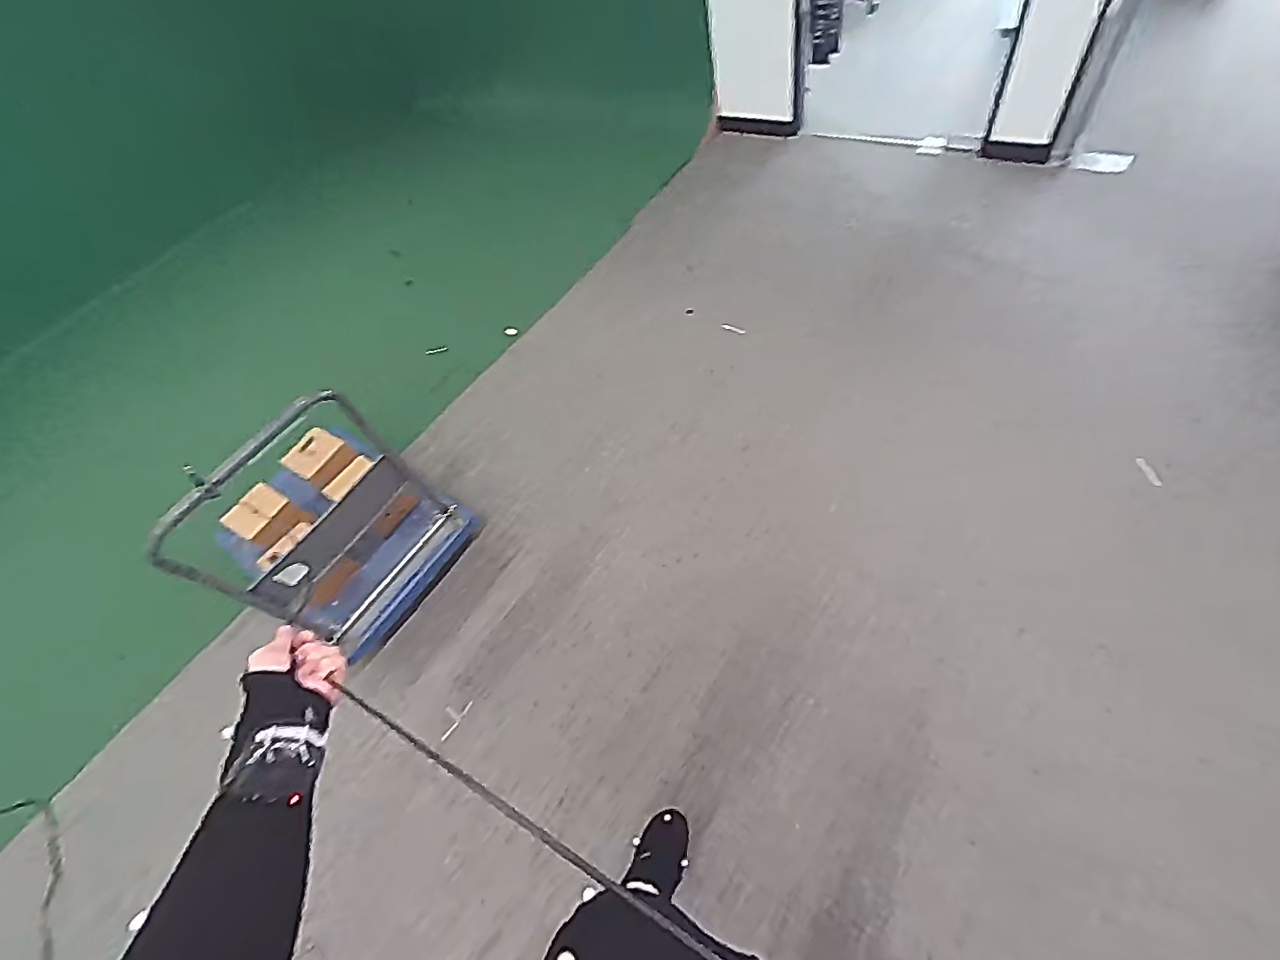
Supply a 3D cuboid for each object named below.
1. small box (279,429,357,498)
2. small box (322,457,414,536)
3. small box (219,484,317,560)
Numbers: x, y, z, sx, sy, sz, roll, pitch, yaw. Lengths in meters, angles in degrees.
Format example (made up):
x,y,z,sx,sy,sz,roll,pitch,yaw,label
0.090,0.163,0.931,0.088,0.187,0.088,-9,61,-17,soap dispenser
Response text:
x,y,z,sx,sy,sz,roll,pitch,yaw,label
-1.106,-0.047,1.904,0.179,0.176,0.168,23,66,25,small box
-0.890,0.060,1.781,0.179,0.176,0.168,28,67,27,small box
-1.234,0.147,1.807,0.179,0.176,0.168,23,64,26,small box
